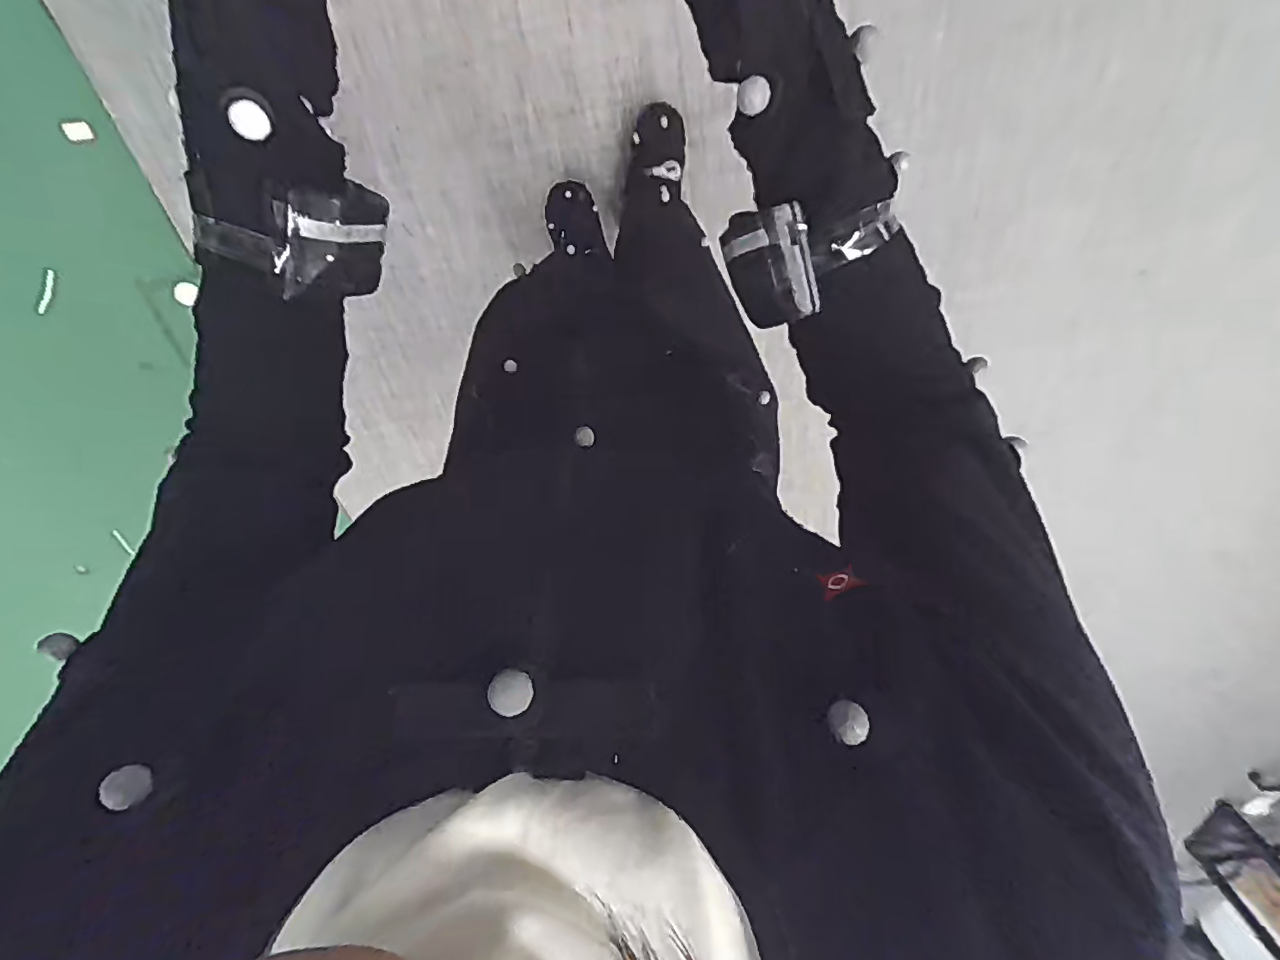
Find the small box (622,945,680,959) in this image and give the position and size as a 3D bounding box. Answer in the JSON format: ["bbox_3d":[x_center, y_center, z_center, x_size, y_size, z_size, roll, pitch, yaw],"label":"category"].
[{"bbox_3d":[0.045,1.599,1.705,0.179,0.176,0.168,-10,125,4],"label":"small box"}]
